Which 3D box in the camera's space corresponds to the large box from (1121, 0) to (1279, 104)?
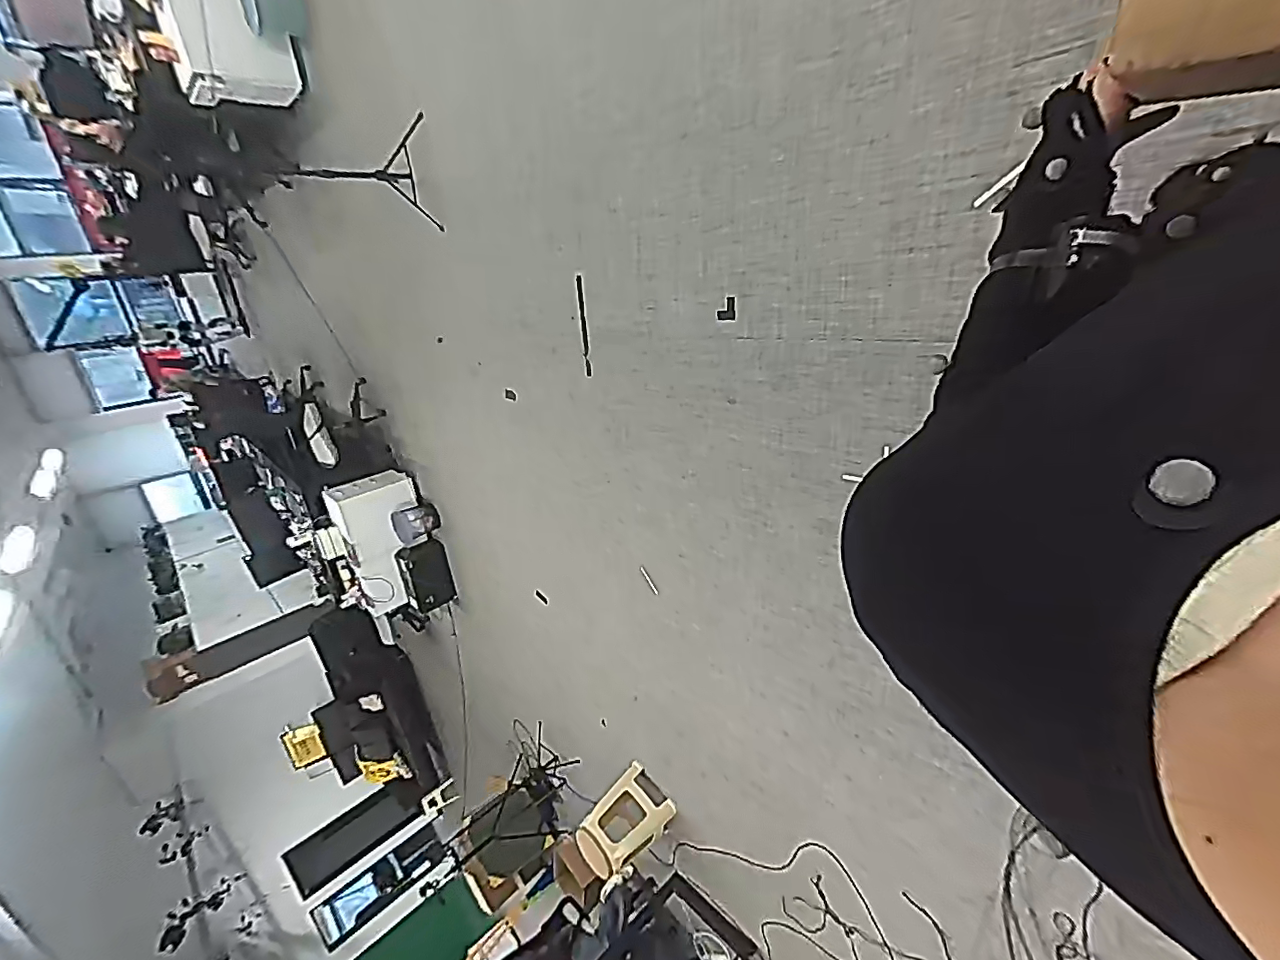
[{"bbox_3d":[0.425,-0.324,0.137,0.408,0.320,0.320,16,126,36],"label":"large box"}]
